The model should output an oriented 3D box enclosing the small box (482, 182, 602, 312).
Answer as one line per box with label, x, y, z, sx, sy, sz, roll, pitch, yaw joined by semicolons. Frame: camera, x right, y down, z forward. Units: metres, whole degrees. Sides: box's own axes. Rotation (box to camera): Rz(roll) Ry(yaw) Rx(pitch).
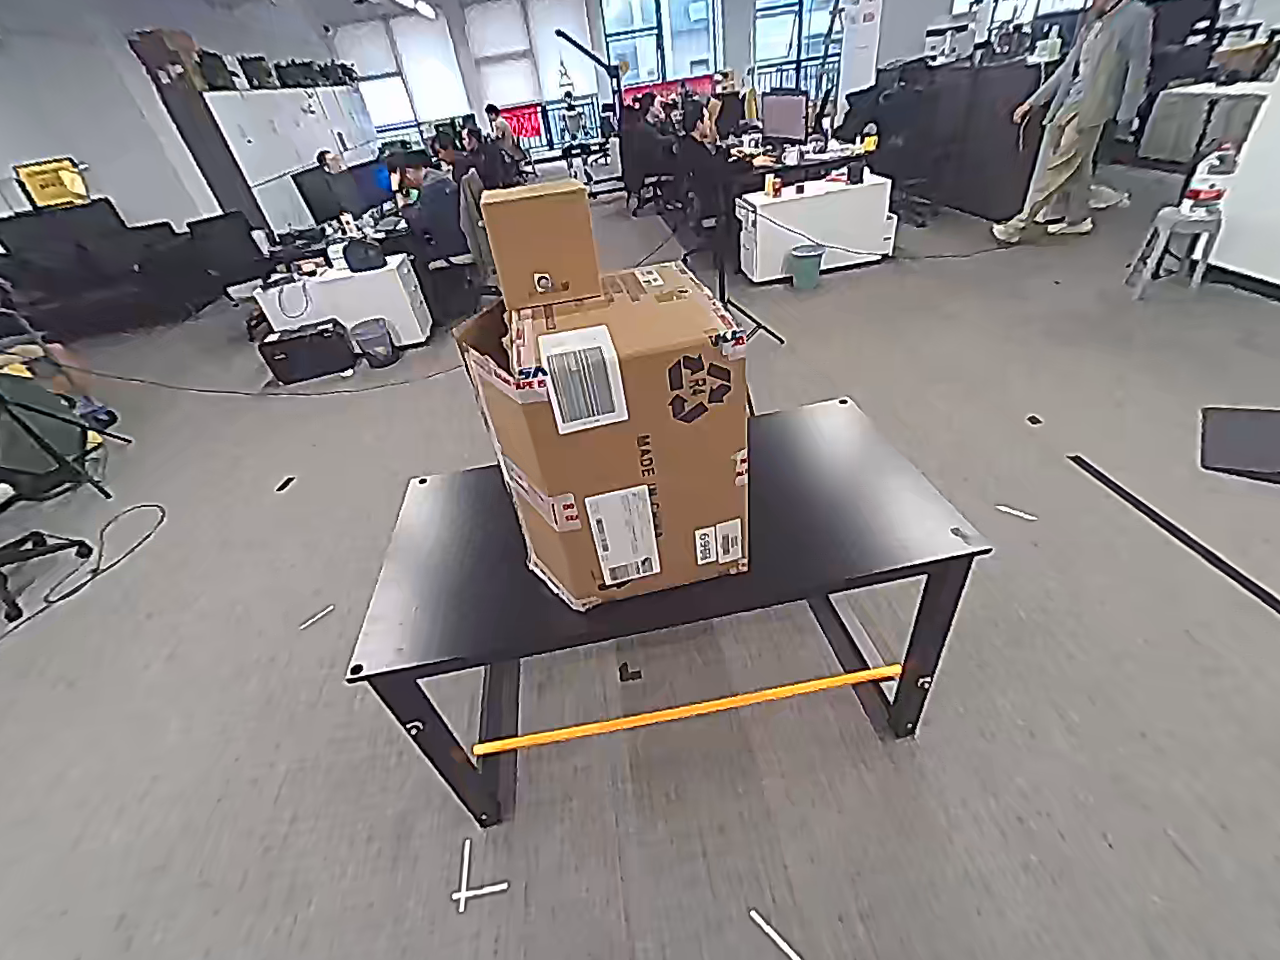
small box;-0.168;-0.405;0.938;0.168;0.176;0.179;-13;35;-7
